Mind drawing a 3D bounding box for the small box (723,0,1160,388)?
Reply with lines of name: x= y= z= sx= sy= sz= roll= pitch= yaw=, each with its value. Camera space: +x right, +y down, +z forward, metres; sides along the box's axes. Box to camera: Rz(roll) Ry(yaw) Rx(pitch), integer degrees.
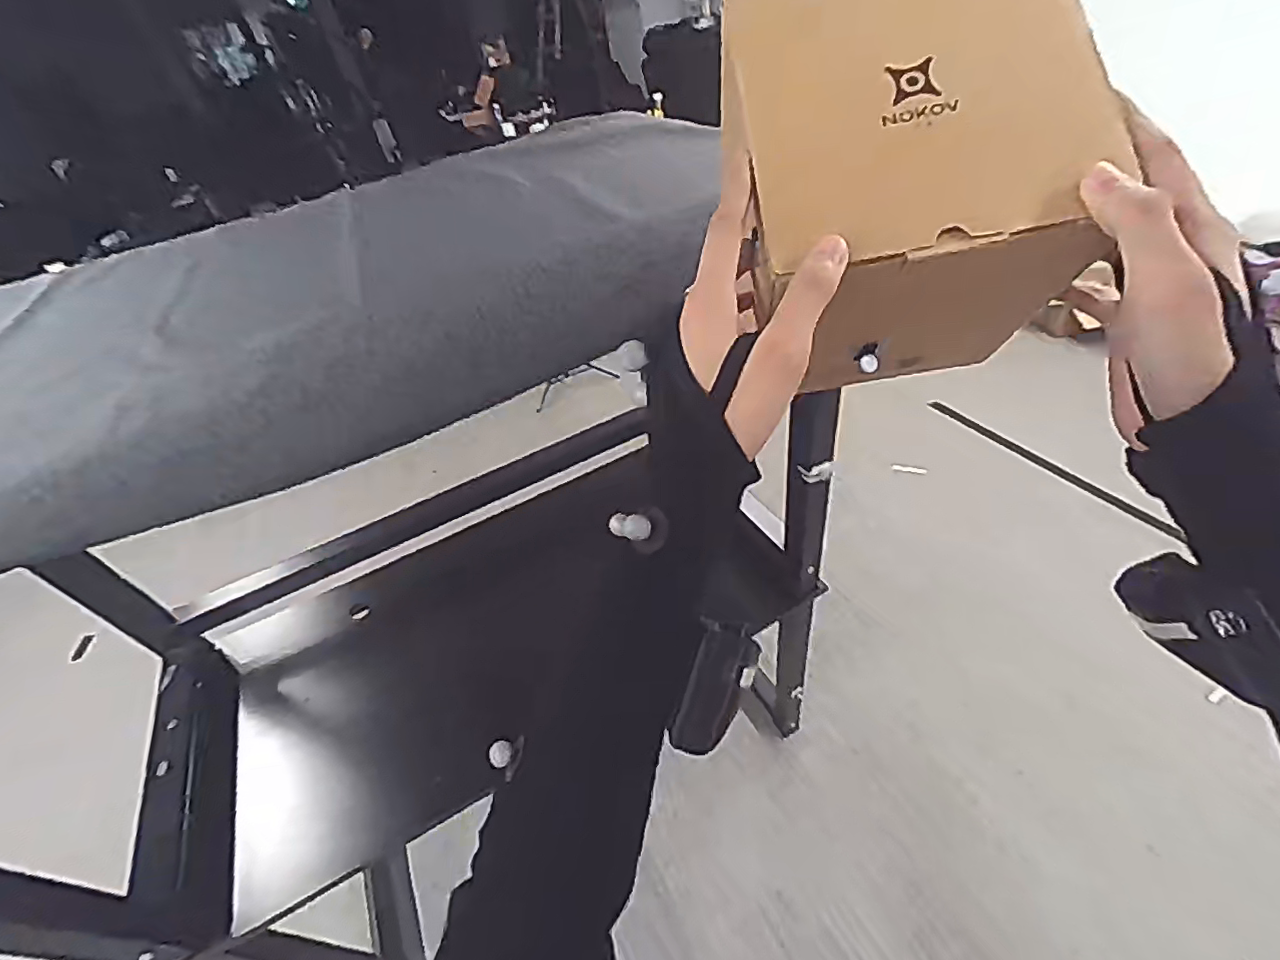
small box: x=0.144 y=-0.177 z=0.335 sx=0.168 sy=0.176 sz=0.179 roll=-9 pitch=78 yaw=7
